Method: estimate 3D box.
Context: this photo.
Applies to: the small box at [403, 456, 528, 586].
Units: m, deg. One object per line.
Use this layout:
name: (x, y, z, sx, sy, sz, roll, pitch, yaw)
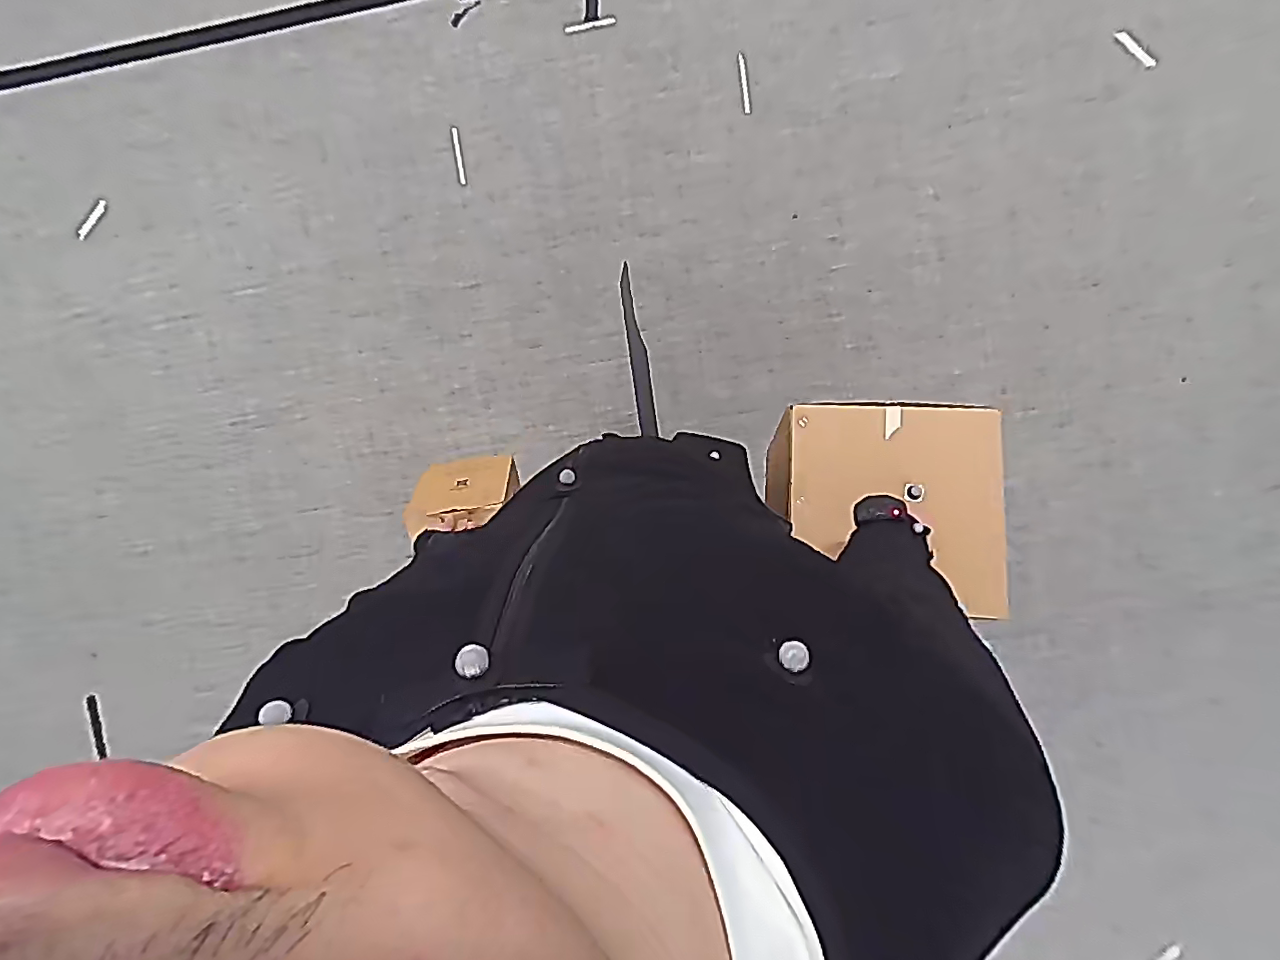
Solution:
small box: (-0.307, 0.079, 0.994, 0.168, 0.179, 0.176, -8, 121, -3)
